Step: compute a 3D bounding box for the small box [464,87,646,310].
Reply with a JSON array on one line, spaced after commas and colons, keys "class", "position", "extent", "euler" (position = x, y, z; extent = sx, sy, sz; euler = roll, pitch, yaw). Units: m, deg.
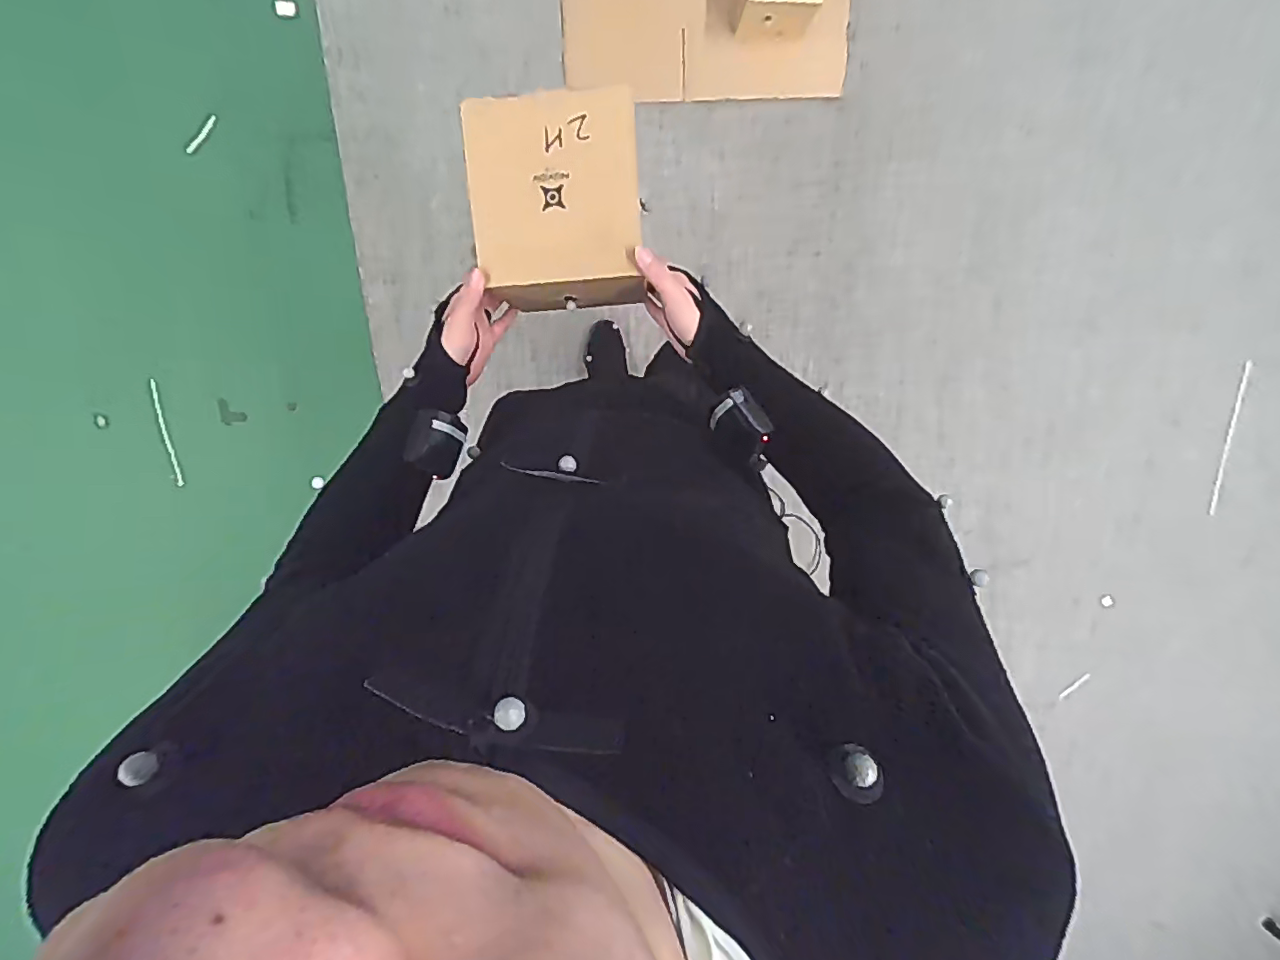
[{"class": "small box", "position": [-0.079, -0.290, 0.598], "extent": [0.168, 0.176, 0.179], "euler": [-3, 98, 2]}]

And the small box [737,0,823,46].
[{"class": "small box", "position": [0.316, -1.119, 1.217], "extent": [0.168, 0.176, 0.179], "euler": [1, 105, -1]}]
